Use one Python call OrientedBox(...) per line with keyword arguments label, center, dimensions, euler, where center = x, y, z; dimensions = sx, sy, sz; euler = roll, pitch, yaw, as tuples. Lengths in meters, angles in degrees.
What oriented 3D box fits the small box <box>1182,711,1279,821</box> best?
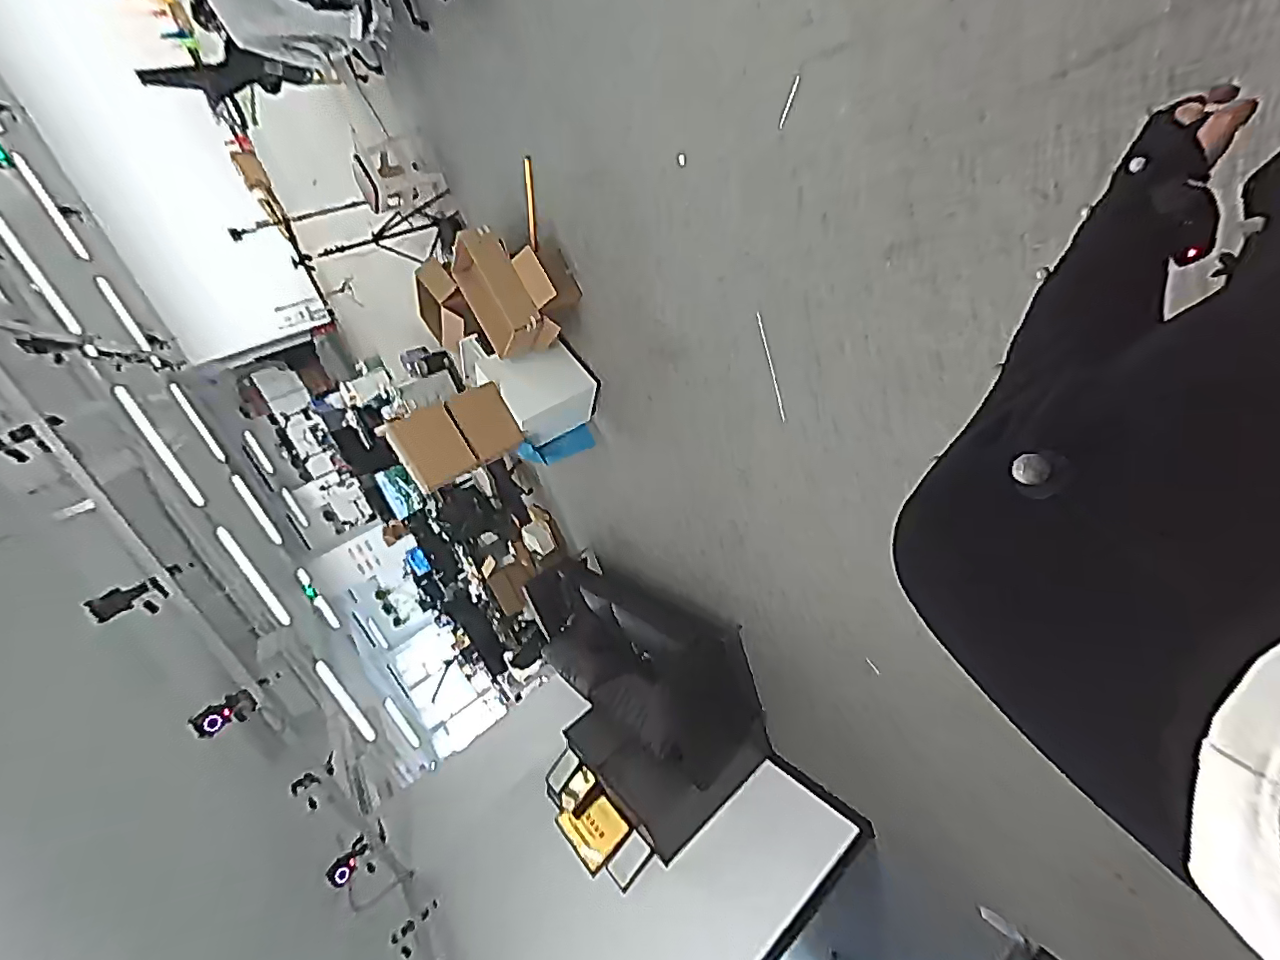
OrientedBox(label="small box", center=(1.645, 0.770, 1.480), dimensions=(0.179, 0.176, 0.168), euler=(22, 137, 50))
